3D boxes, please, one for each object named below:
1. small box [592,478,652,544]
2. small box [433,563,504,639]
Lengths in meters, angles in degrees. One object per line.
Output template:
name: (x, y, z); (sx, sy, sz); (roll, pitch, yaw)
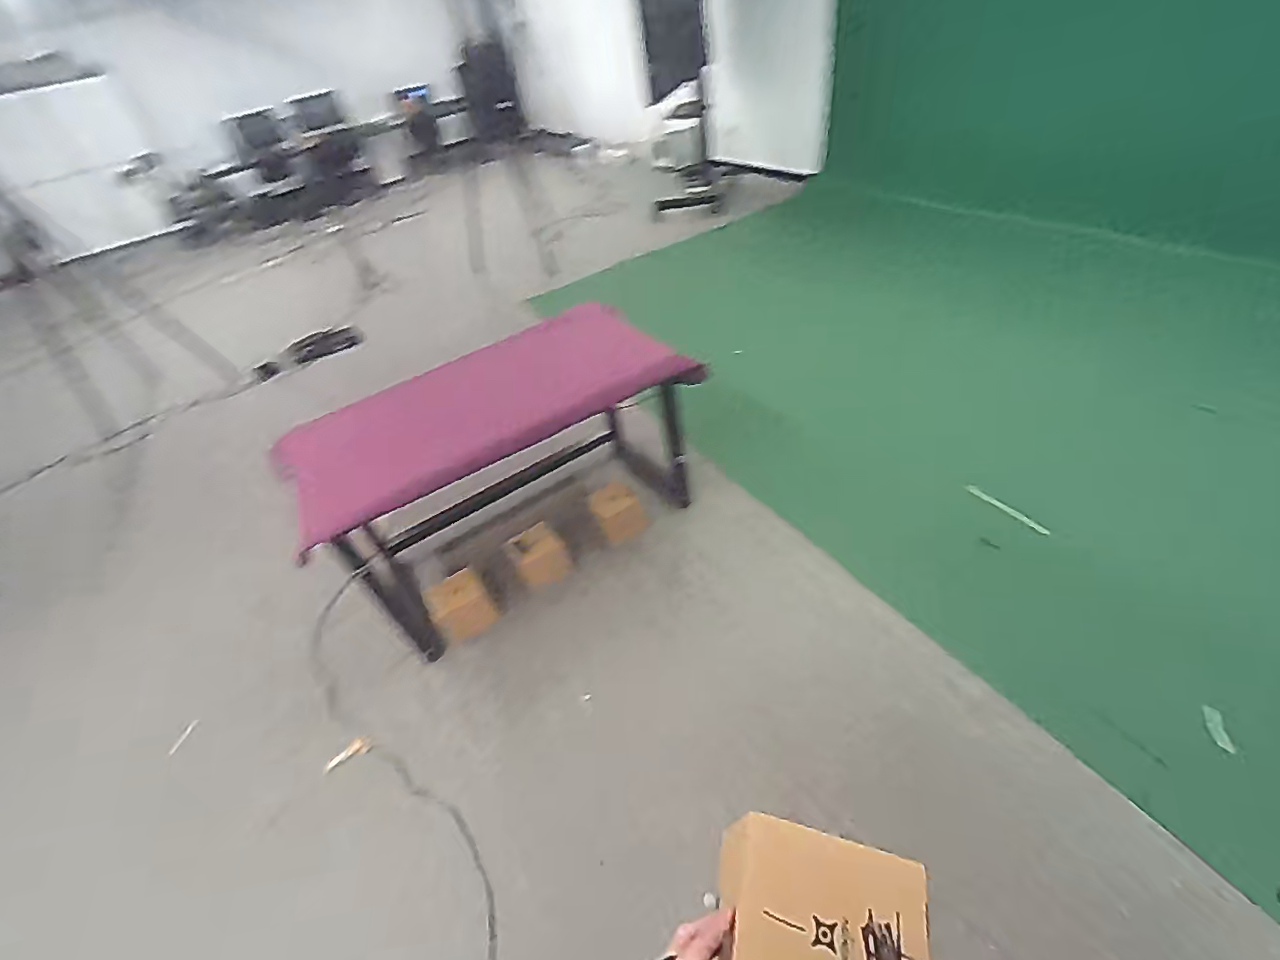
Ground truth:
small box: (-0.070, 0.129, 2.199); (0.179, 0.176, 0.168); (-27, 44, -15)
small box: (-0.629, 0.449, 1.991); (0.179, 0.176, 0.168); (-29, 44, -18)
